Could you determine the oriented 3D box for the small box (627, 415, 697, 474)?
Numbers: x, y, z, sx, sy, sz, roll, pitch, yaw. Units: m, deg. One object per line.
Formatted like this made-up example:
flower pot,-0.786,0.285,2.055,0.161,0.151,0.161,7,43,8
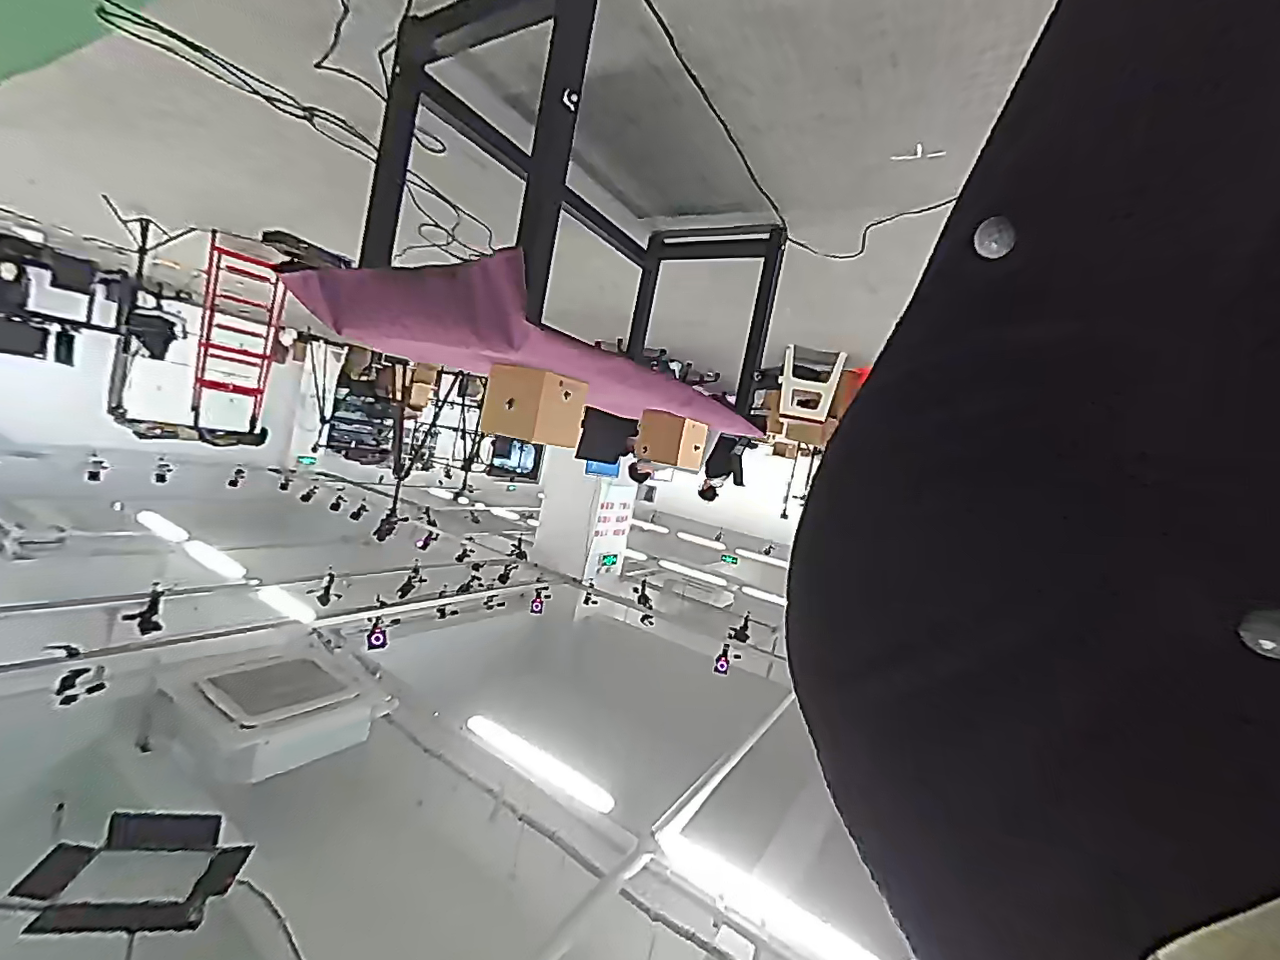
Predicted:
small box,0.082,-0.122,1.837,0.179,0.176,0.168,13,-177,32
